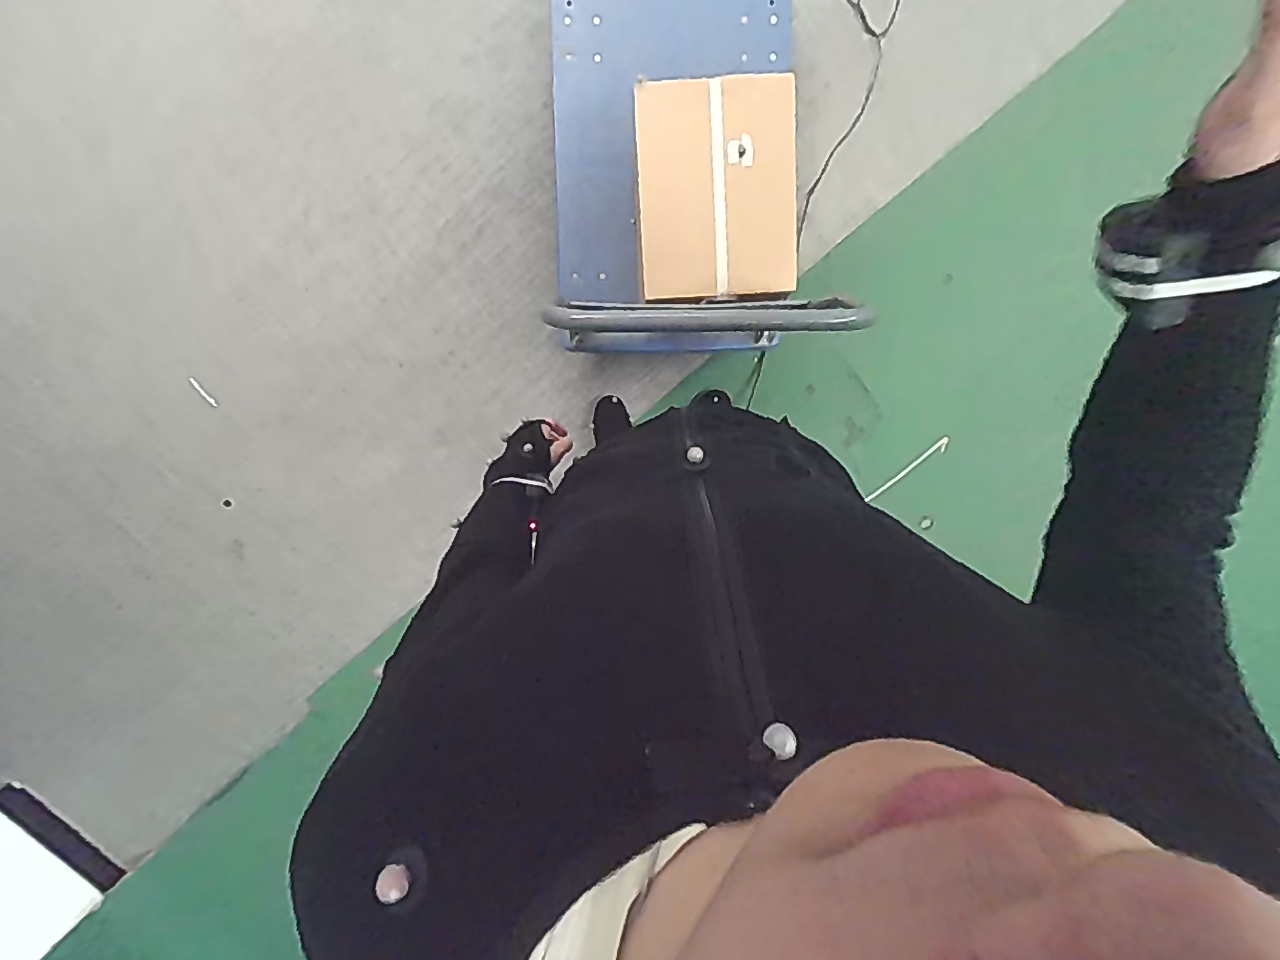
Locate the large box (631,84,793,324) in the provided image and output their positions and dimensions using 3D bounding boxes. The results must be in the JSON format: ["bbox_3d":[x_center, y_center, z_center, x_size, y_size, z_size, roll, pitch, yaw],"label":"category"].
[{"bbox_3d":[0.148,-0.593,1.238,0.320,0.320,0.408,-4,98,-1],"label":"large box"}]
